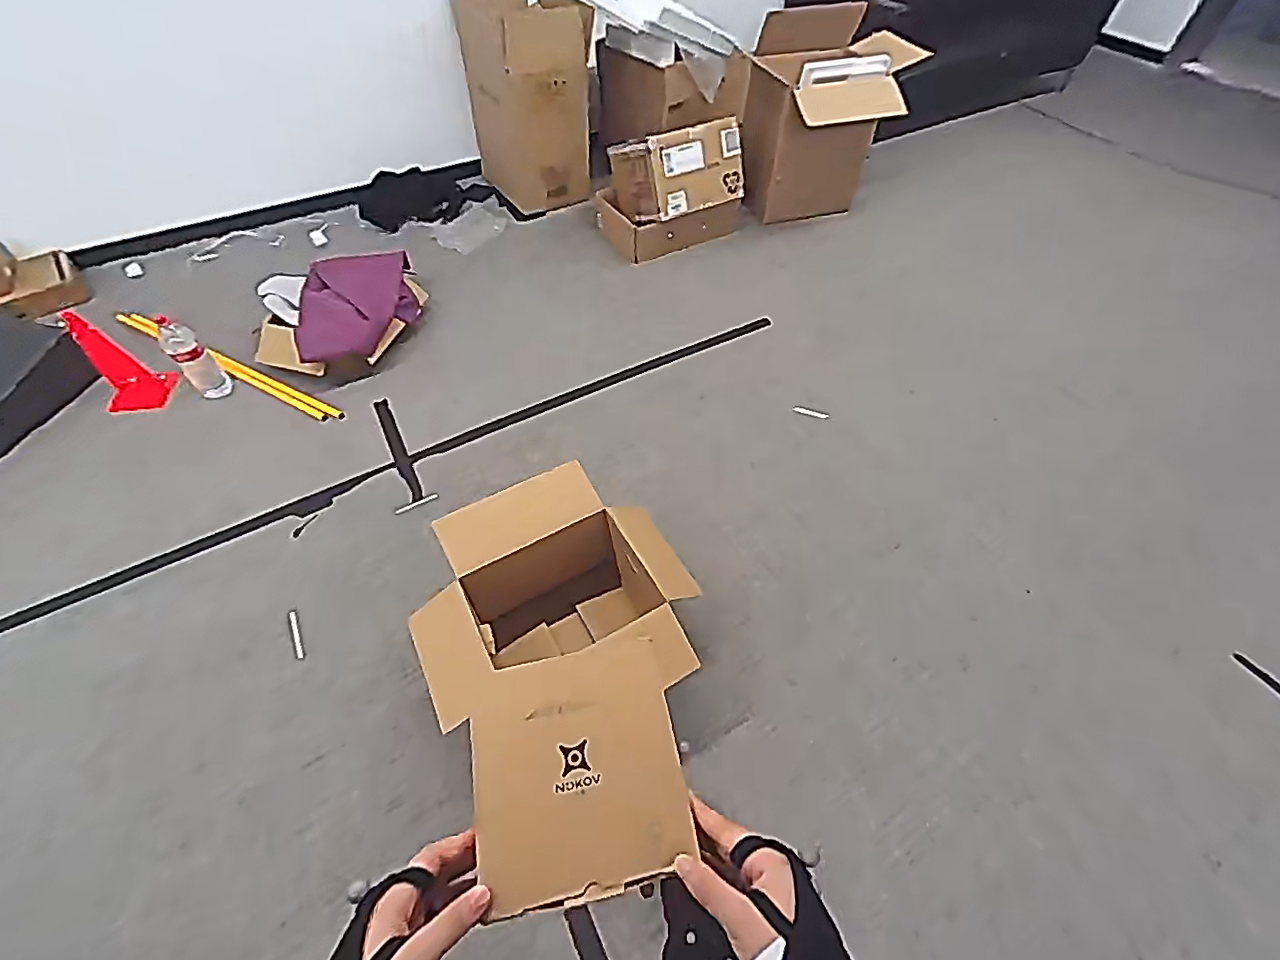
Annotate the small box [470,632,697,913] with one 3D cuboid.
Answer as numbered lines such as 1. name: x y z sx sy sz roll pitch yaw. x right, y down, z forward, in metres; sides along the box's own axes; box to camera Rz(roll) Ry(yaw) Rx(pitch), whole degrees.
1. small box: -0.050 0.265 0.506 0.168 0.176 0.179 -11 58 -6
